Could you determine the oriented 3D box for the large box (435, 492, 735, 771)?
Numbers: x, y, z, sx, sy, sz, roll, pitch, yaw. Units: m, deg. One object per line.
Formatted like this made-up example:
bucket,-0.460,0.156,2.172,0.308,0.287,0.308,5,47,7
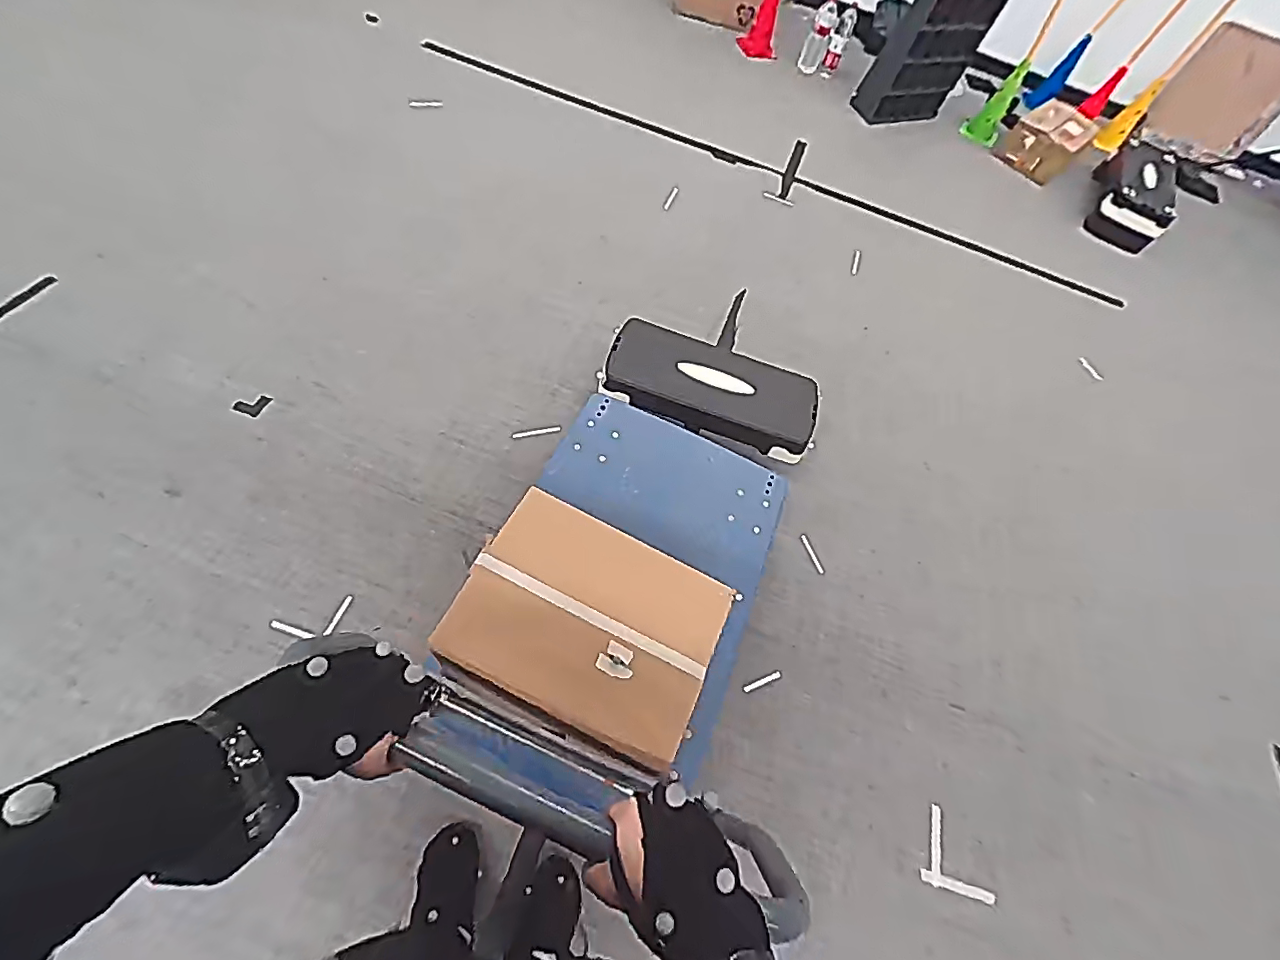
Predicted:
large box,-0.101,0.289,0.997,0.408,0.320,0.320,27,60,3
